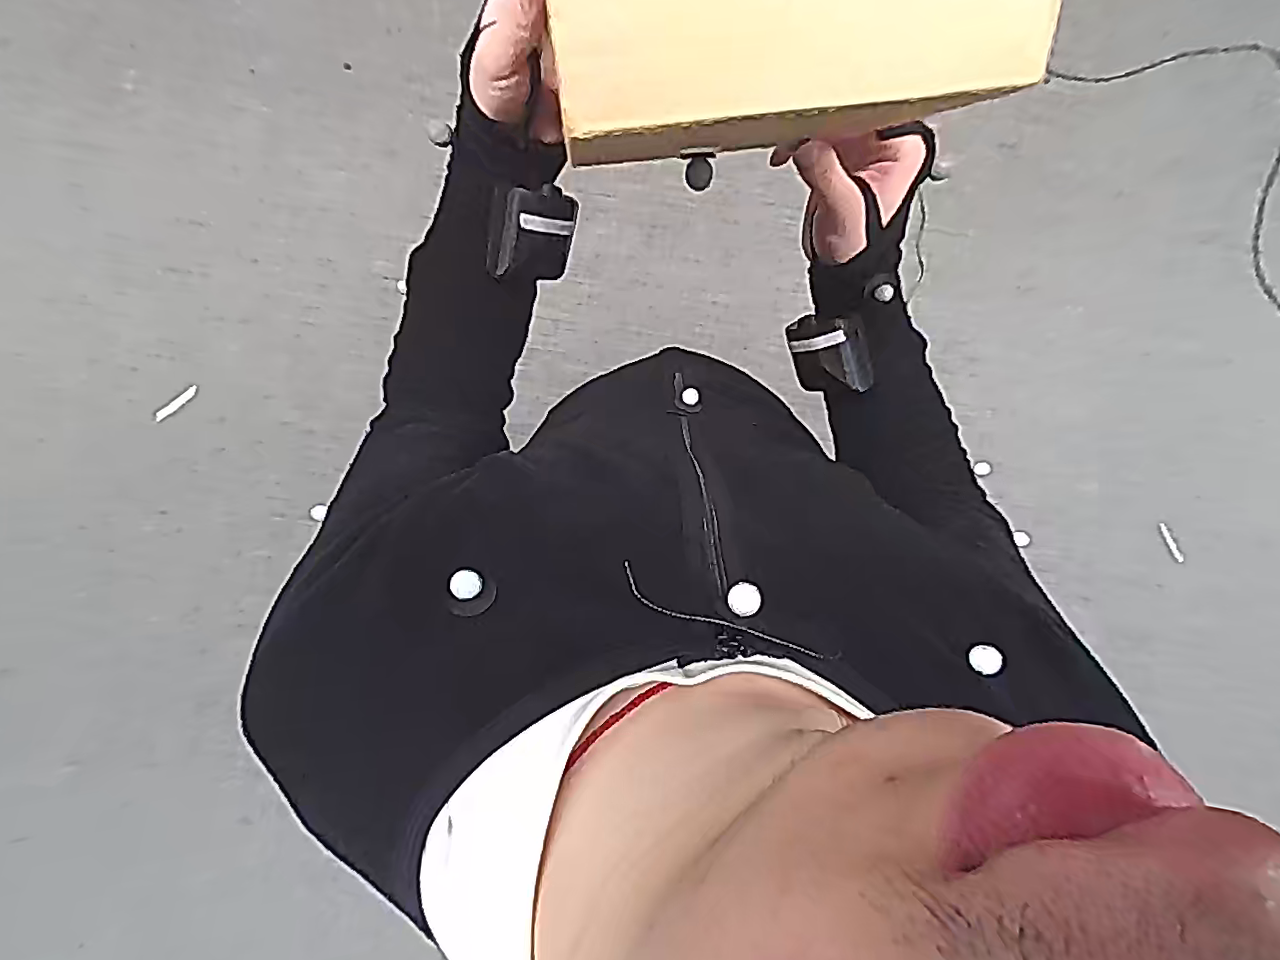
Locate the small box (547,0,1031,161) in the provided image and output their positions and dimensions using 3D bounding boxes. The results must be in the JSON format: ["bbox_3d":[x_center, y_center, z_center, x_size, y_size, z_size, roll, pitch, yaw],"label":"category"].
[{"bbox_3d":[0.039,-0.245,0.224,0.168,0.176,0.179,-8,119,-1],"label":"small box"}]
